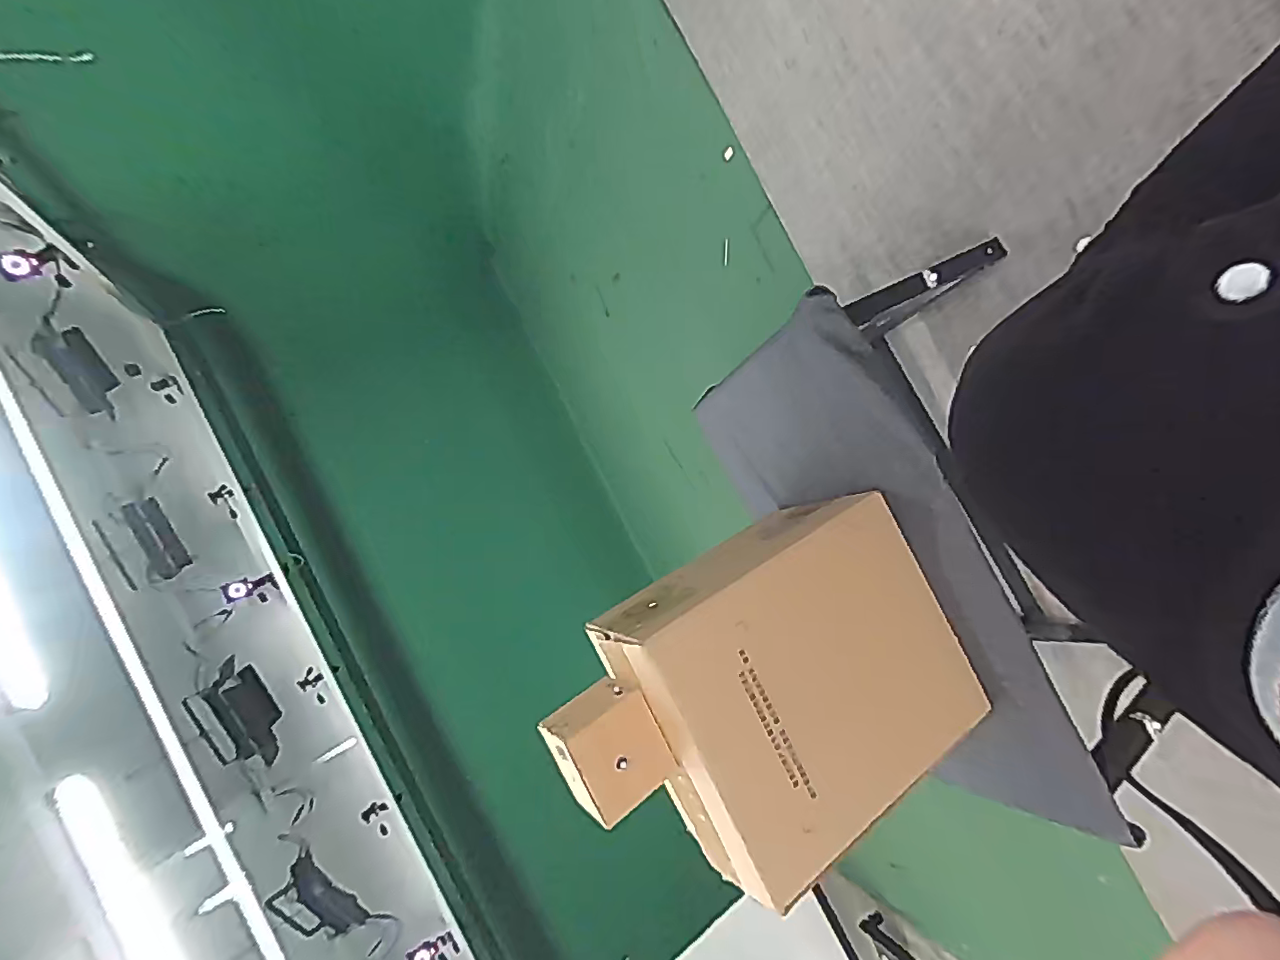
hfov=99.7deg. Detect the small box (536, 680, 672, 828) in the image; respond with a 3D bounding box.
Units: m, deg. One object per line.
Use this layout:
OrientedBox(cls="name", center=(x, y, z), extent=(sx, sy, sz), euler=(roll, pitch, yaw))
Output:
OrientedBox(cls="small box", center=(-0.070, 0.511, 1.042), extent=(0.179, 0.176, 0.168), euler=(63, 151, -1))
